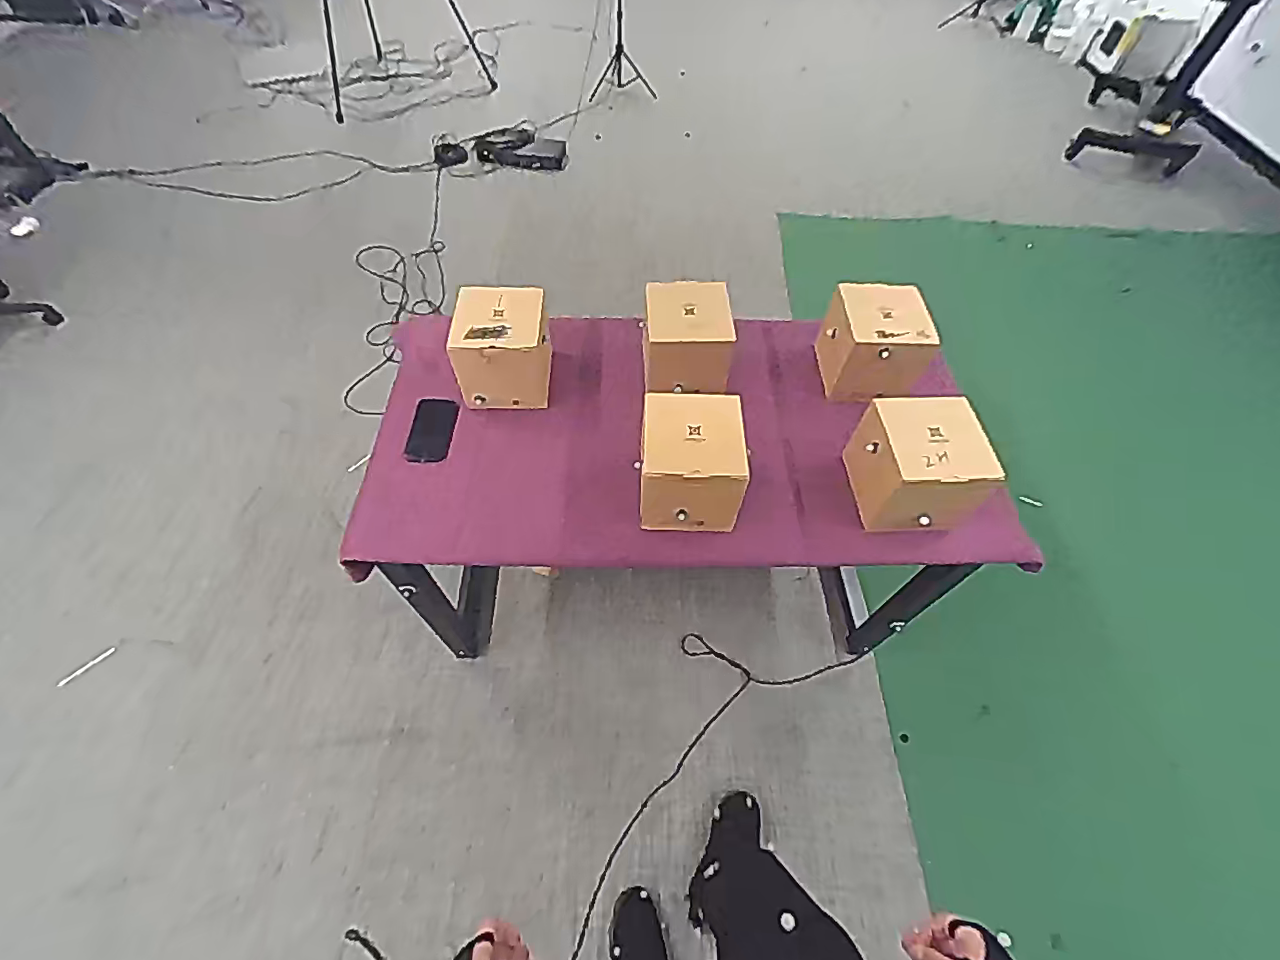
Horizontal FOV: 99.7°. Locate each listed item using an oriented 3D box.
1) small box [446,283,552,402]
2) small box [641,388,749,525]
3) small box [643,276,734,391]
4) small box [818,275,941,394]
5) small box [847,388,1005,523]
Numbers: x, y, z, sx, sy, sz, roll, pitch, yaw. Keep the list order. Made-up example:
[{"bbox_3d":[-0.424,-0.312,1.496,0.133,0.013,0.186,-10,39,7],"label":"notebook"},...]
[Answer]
[{"bbox_3d":[-0.272,-0.271,1.086,0.168,0.176,0.179,-1,57,-2],"label":"small box"},{"bbox_3d":[0.086,-0.039,0.944,0.168,0.176,0.179,1,56,-1],"label":"small box"},{"bbox_3d":[0.091,-0.296,1.112,0.168,0.176,0.179,-1,58,-1],"label":"small box"},{"bbox_3d":[0.481,-0.298,1.119,0.168,0.176,0.179,0,57,0],"label":"small box"},{"bbox_3d":[0.483,-0.041,0.948,0.168,0.176,0.179,-2,58,0],"label":"small box"}]
